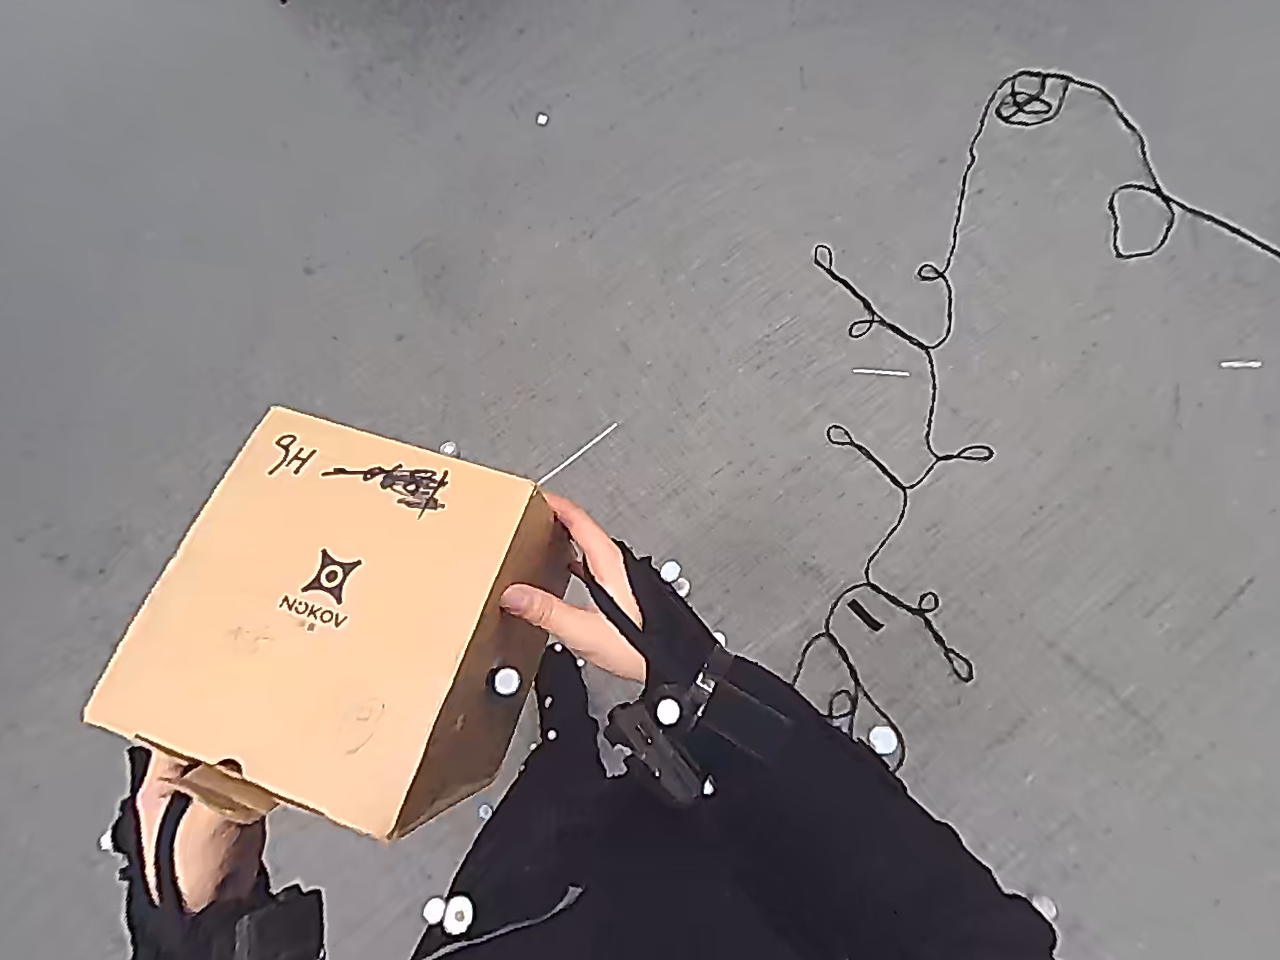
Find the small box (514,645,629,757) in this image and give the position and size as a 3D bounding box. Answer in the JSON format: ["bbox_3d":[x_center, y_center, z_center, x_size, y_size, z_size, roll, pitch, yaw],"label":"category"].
[{"bbox_3d":[-0.146,0.463,1.148,0.179,0.176,0.168,18,74,18],"label":"small box"}]
